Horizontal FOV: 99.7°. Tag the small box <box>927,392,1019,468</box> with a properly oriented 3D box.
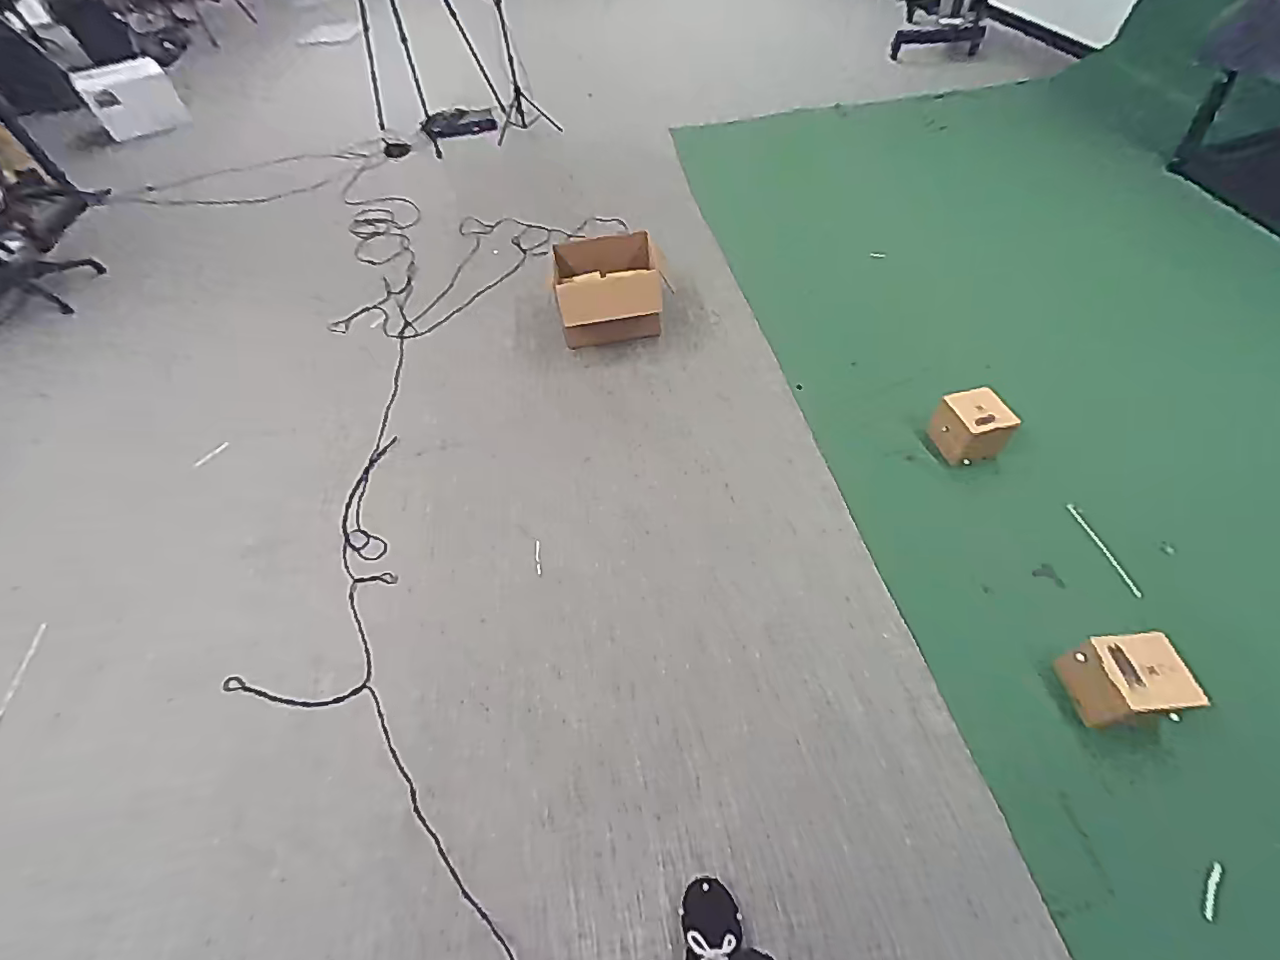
[{"bbox_3d":[1.086,-0.157,1.778,0.168,0.176,0.179,-12,51,-5],"label":"small box"}]
